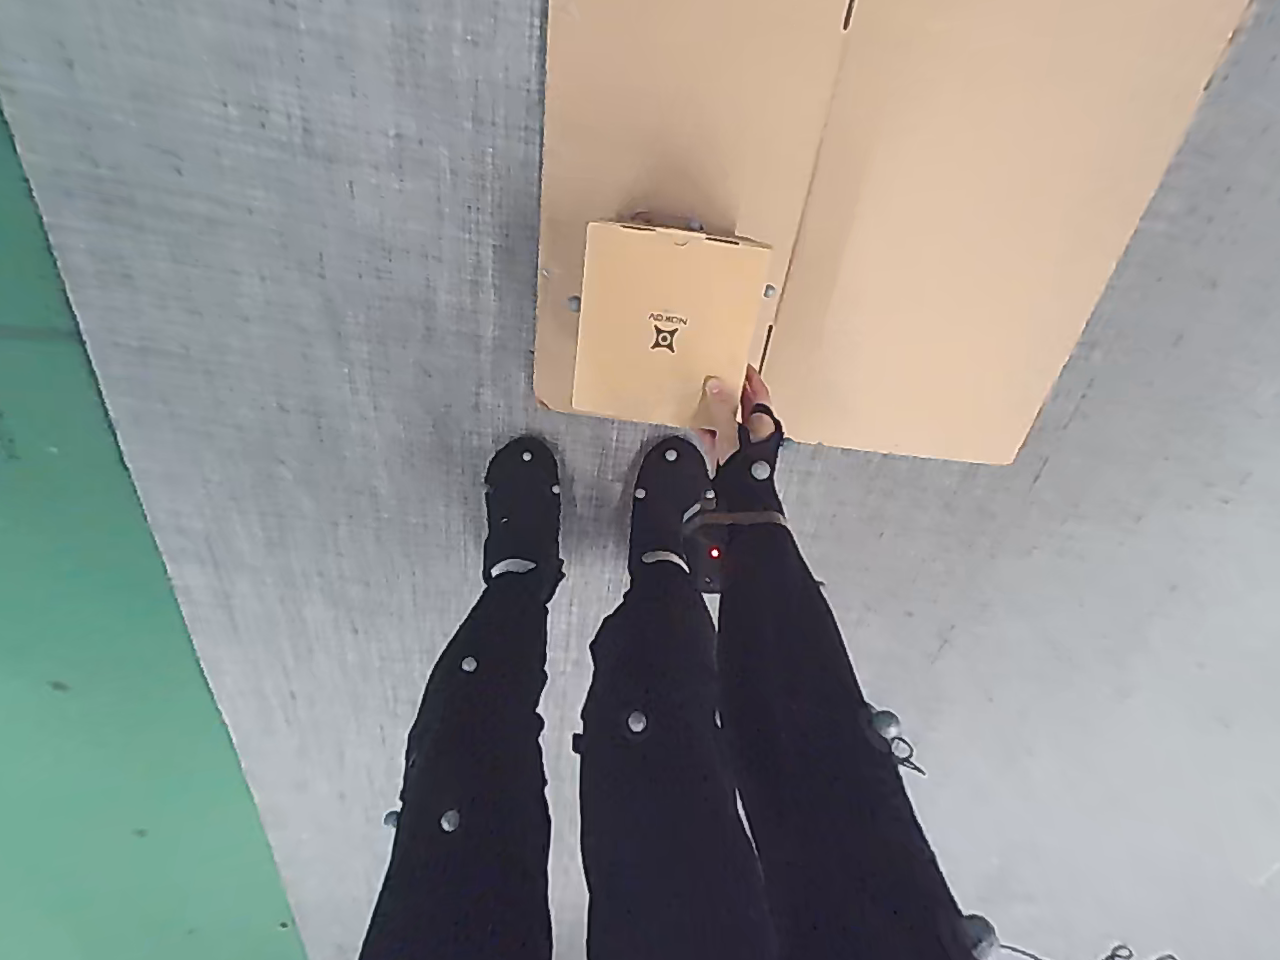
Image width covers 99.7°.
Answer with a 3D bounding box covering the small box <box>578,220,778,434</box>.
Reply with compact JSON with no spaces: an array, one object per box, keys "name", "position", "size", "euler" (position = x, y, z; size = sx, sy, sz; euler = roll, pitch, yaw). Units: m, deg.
[{"name":"small box","position":[0.036,-0.168,0.575],"size":[0.168,0.176,0.179],"euler":[9,115,1]}]
